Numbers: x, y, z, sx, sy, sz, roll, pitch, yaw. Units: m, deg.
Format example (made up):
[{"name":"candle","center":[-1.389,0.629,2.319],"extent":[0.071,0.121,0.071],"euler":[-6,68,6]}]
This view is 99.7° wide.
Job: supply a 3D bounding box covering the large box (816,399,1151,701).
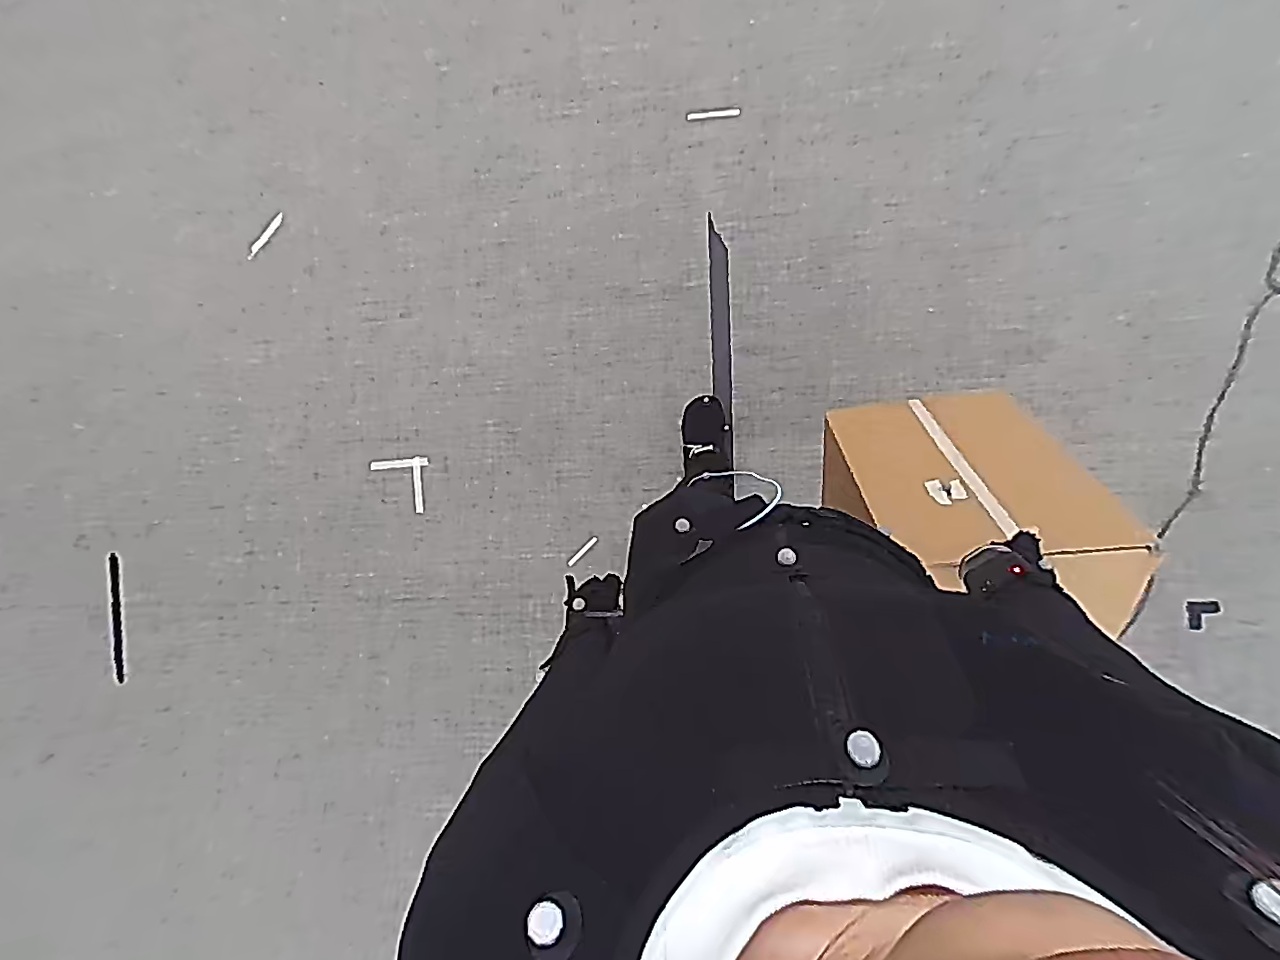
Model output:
[{"name":"large box","center":[0.502,0.105,0.919],"extent":[0.320,0.408,0.320],"euler":[-7,126,9]}]
